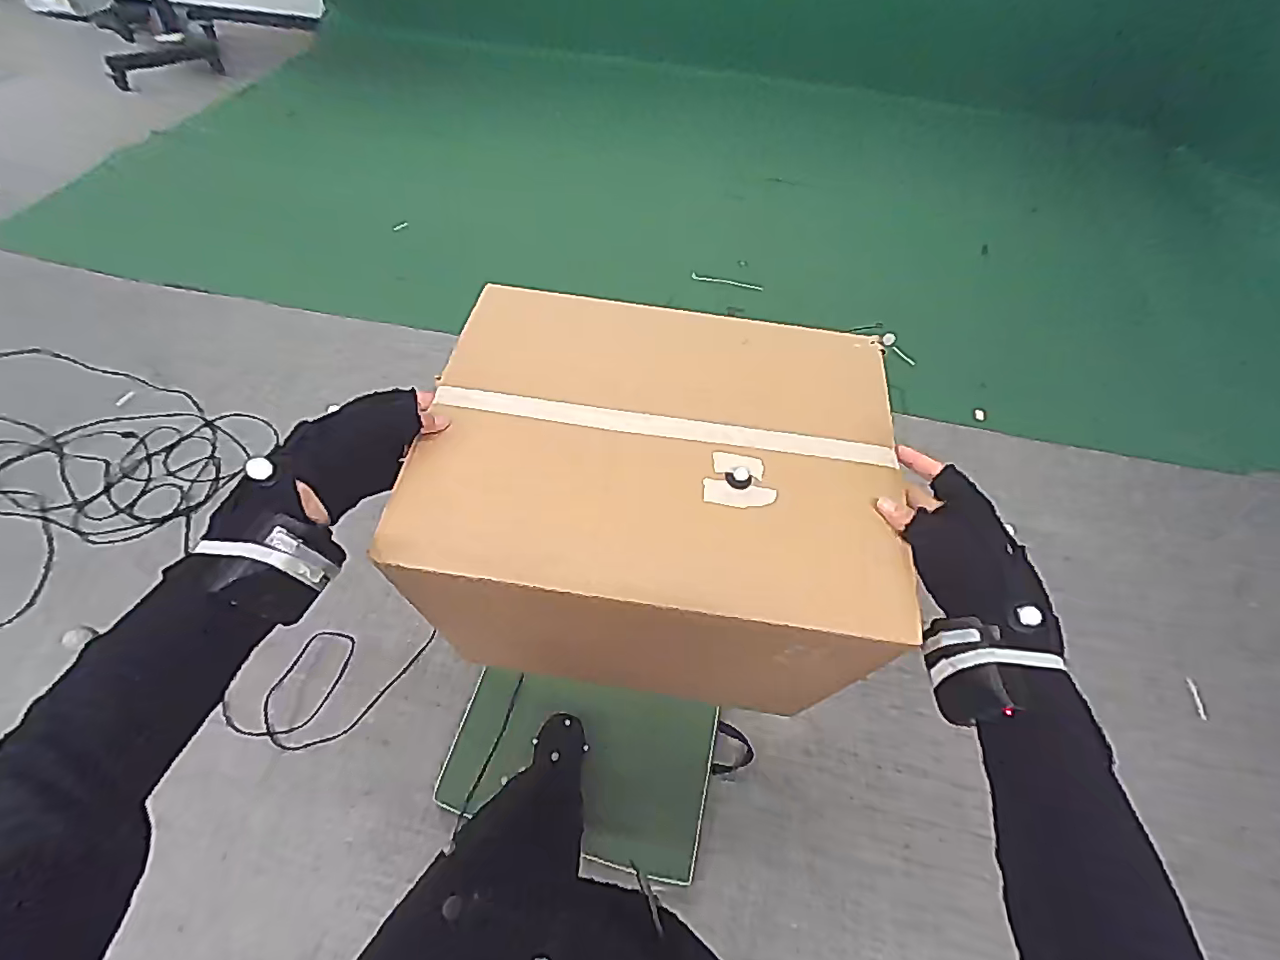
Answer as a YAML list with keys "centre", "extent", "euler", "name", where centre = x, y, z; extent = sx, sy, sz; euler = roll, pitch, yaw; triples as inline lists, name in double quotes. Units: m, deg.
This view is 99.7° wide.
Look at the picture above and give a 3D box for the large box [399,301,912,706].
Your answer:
- centre: [0.017, 0.042, 0.613]
  extent: [0.408, 0.320, 0.320]
  euler: [9, 58, 1]
  name: "large box"
